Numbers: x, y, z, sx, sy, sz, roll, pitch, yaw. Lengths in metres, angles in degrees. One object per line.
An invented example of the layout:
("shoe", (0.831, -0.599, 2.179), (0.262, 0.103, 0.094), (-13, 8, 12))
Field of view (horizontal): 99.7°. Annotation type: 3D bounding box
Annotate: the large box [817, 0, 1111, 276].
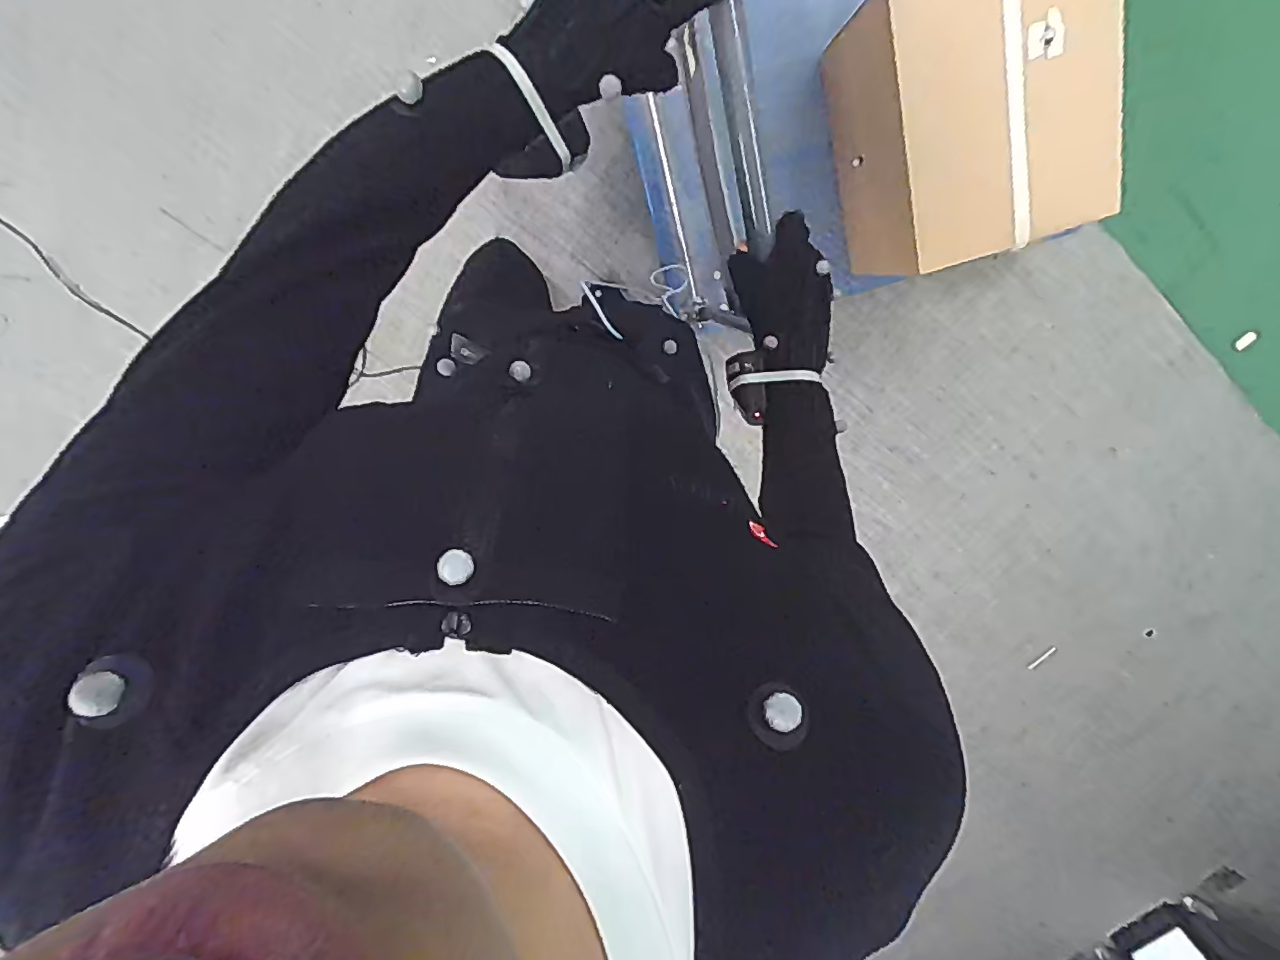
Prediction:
("large box", (0.530, -0.601, 0.932), (0.320, 0.320, 0.408), (-15, 109, 6))
